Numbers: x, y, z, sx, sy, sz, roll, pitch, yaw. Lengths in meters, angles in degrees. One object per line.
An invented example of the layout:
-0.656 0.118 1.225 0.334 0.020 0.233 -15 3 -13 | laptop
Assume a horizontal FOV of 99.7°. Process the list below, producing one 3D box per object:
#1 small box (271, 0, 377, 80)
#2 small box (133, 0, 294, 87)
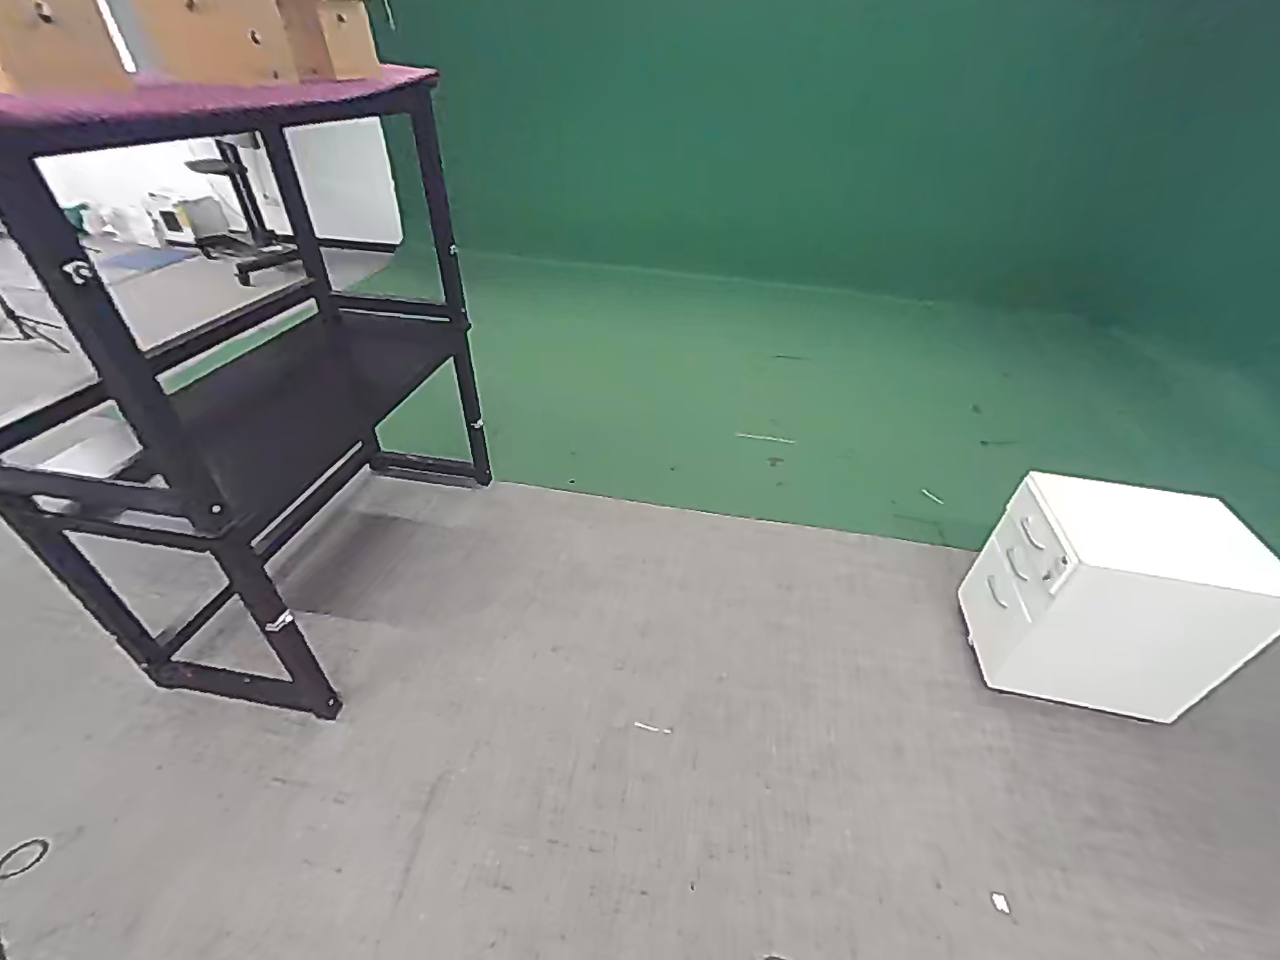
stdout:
-0.792 -1.104 1.348 0.168 0.176 0.179 11 39 12 | small box
-0.830 -0.881 1.064 0.179 0.176 0.168 10 38 9 | small box
